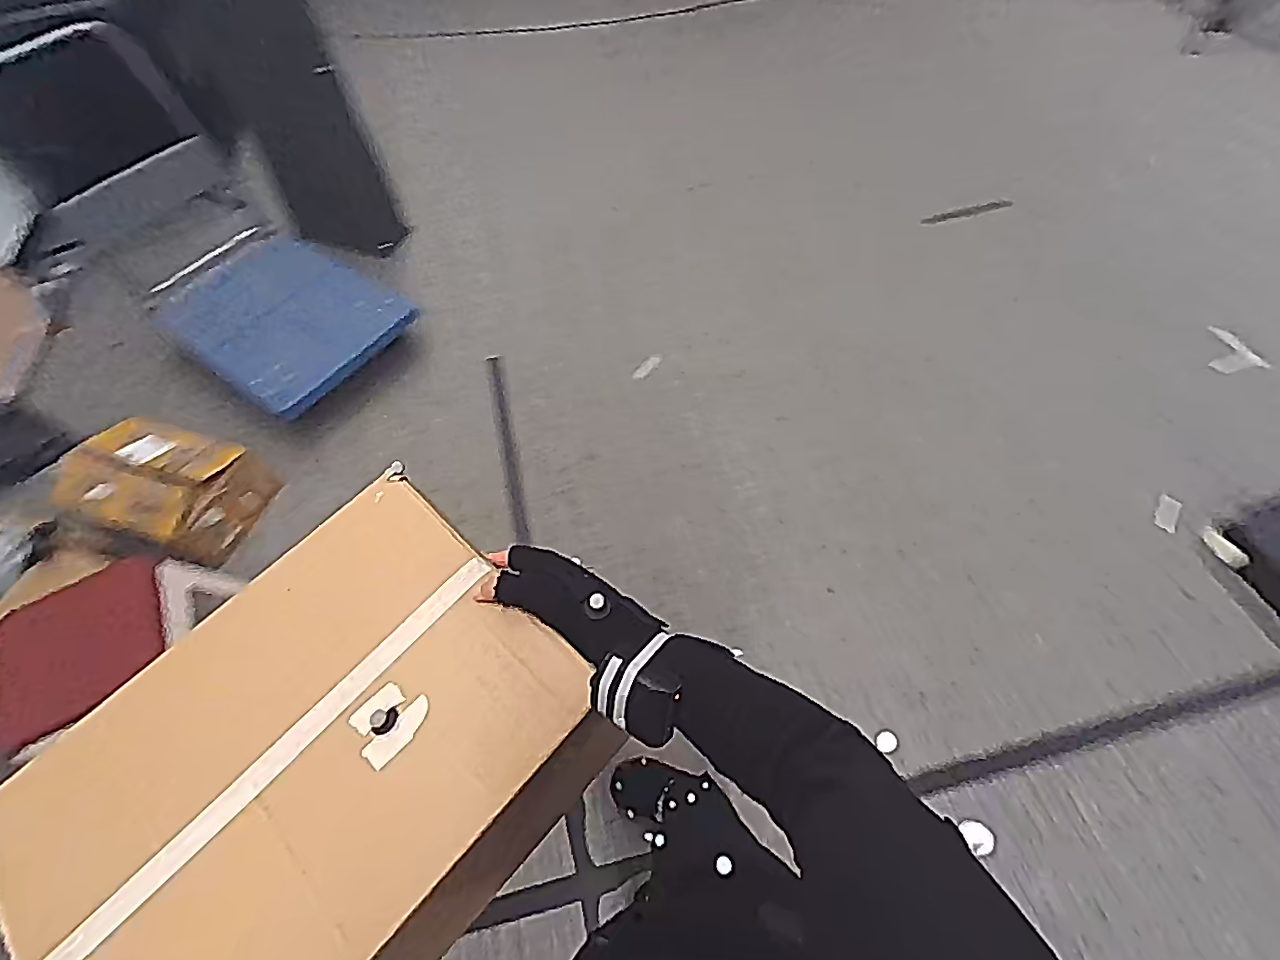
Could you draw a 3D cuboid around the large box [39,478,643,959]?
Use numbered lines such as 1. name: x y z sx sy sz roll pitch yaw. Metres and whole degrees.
1. large box: -0.249 0.286 0.578 0.320 0.320 0.408 39 71 23
